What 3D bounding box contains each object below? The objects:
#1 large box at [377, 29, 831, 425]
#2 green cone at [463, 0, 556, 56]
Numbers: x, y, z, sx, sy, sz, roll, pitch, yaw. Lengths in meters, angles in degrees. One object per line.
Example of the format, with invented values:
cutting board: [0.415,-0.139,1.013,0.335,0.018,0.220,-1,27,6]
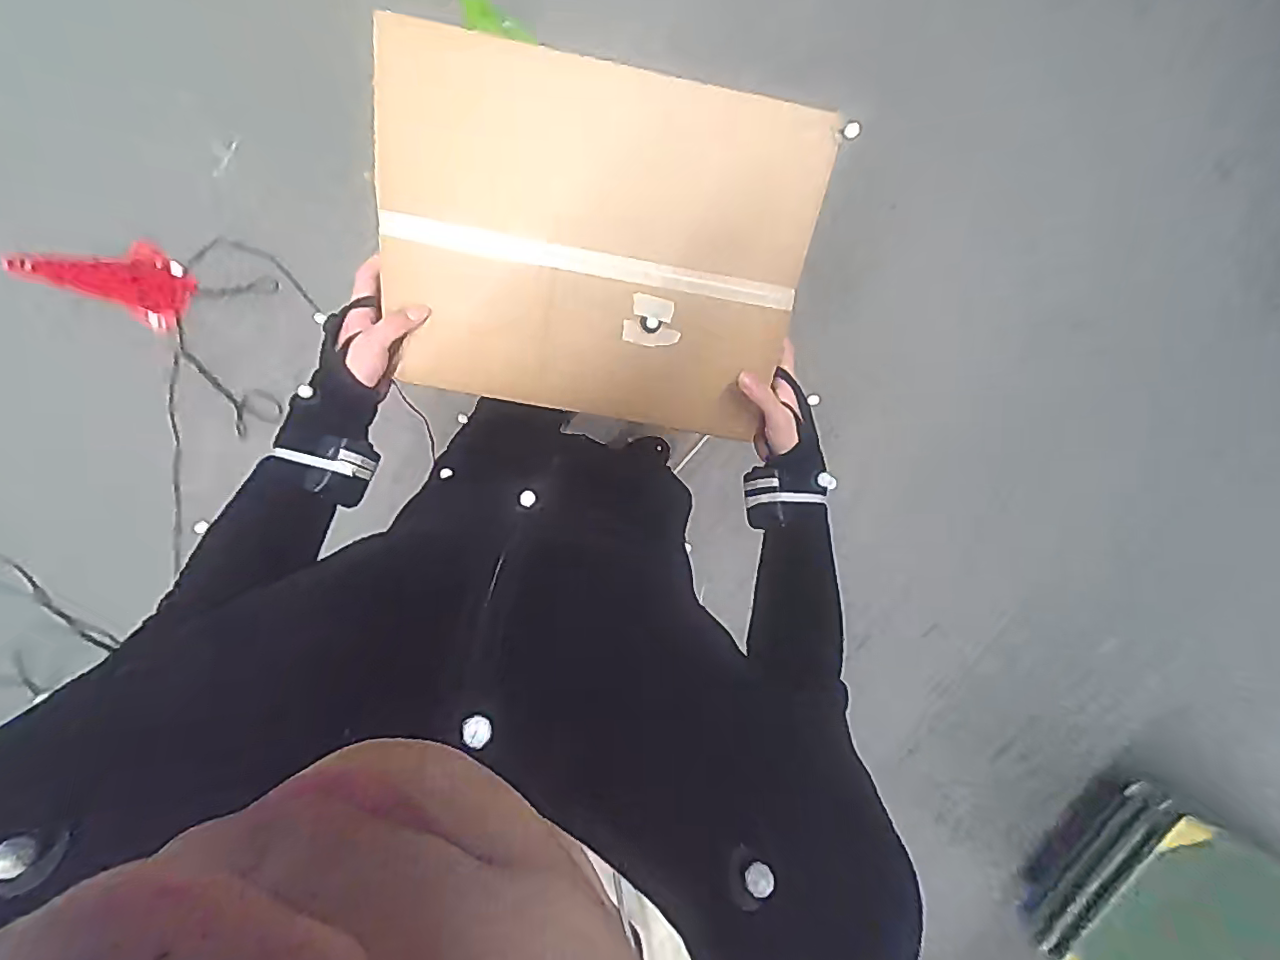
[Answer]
large box: [-0.050,-0.285,0.664,0.408,0.320,0.320,7,117,-5]
green cone: [-0.340,-1.055,1.247,0.200,0.368,0.202,-42,96,8]
